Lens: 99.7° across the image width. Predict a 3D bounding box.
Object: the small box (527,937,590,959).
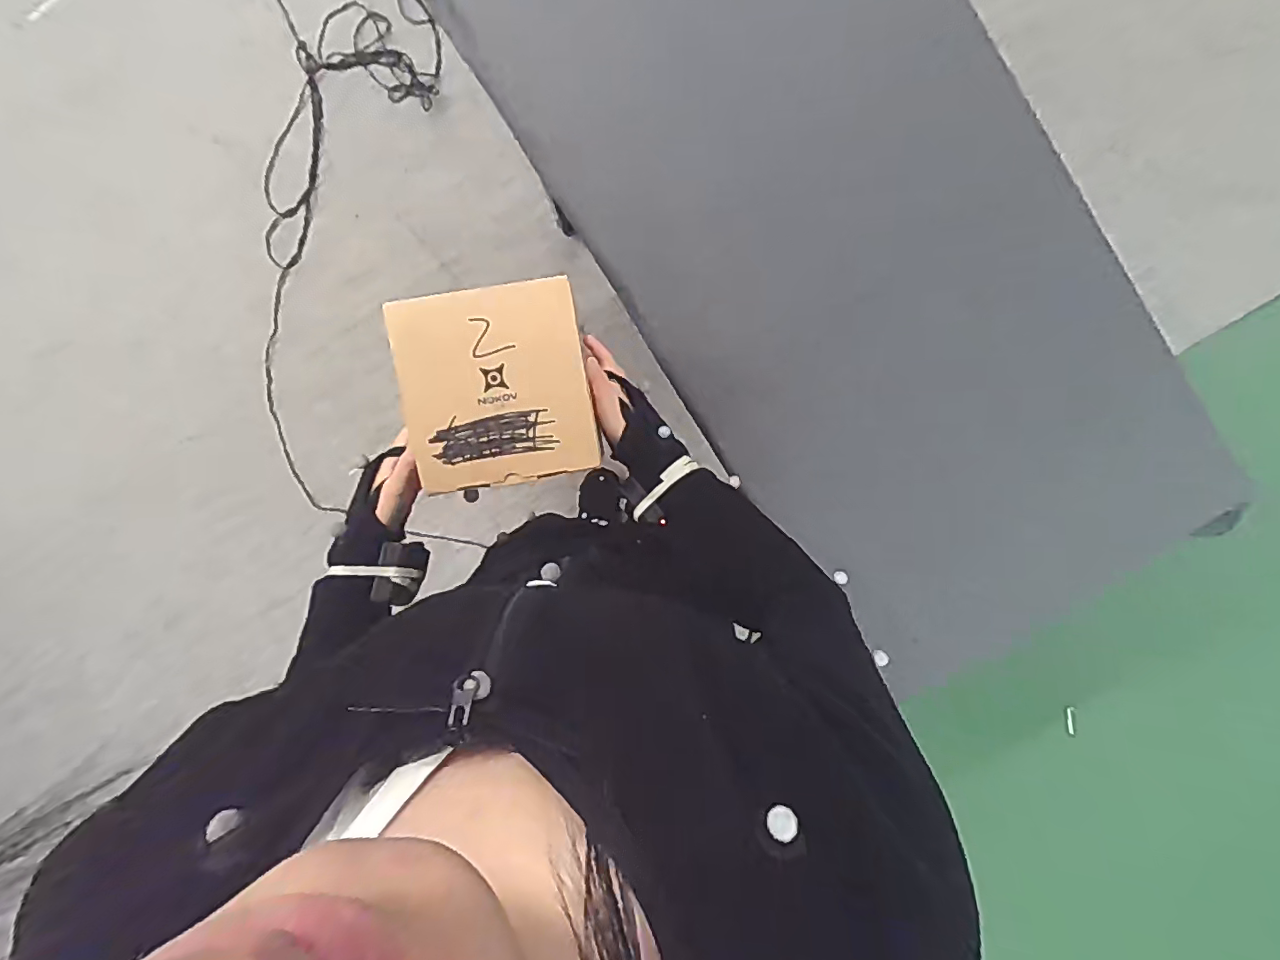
[{"bbox_3d":[-0.222,1.414,1.483,0.168,0.176,0.179,-32,93,1],"label":"small box"}]
